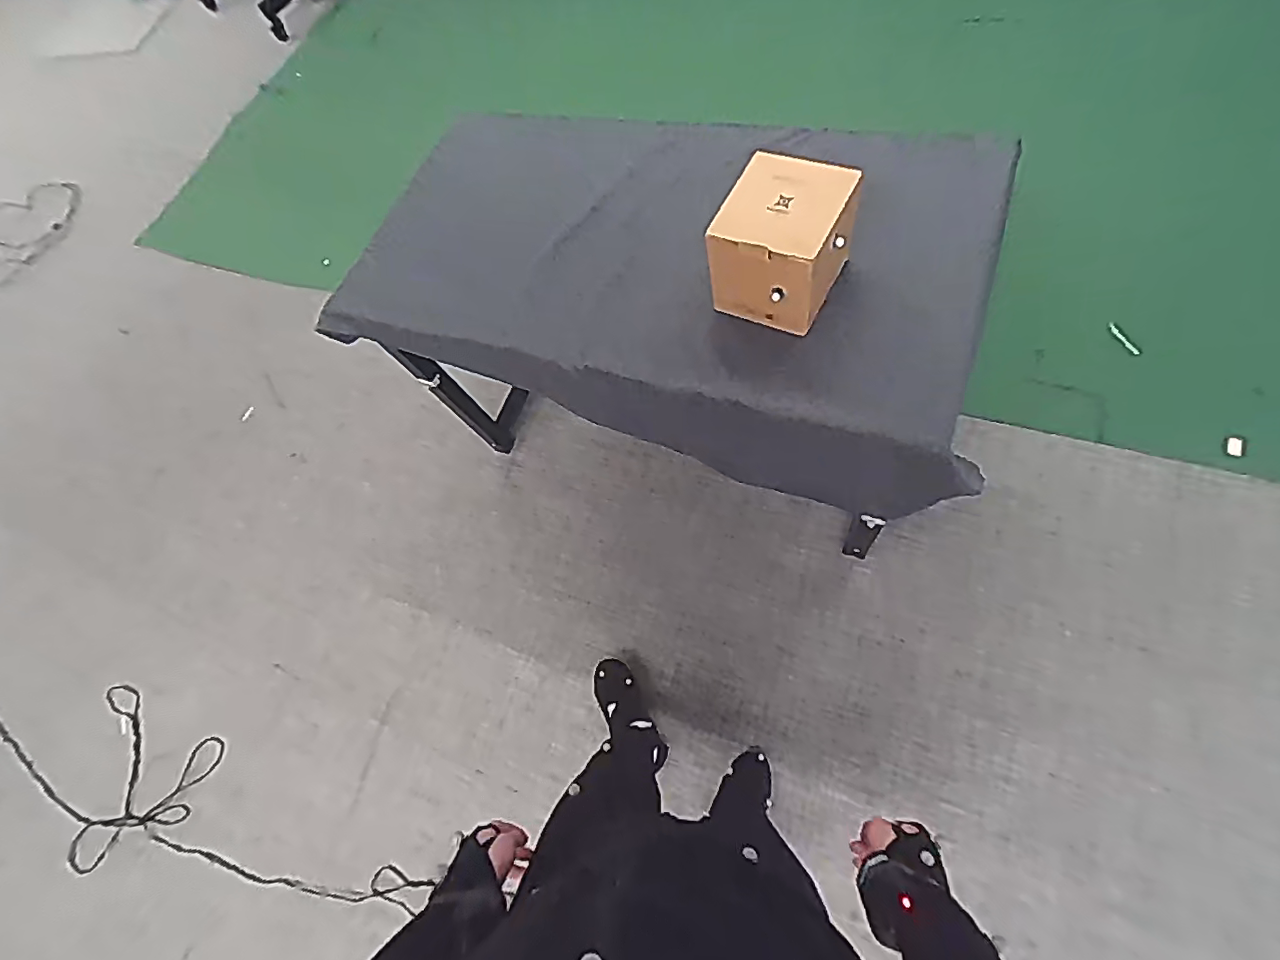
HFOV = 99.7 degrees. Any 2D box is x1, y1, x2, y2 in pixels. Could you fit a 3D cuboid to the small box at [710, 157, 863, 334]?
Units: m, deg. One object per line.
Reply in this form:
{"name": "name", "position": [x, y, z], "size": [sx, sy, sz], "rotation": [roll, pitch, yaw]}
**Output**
{"name": "small box", "position": [0.228, -0.363, 0.854], "size": [0.168, 0.176, 0.179], "rotation": [25, 74, 20]}
